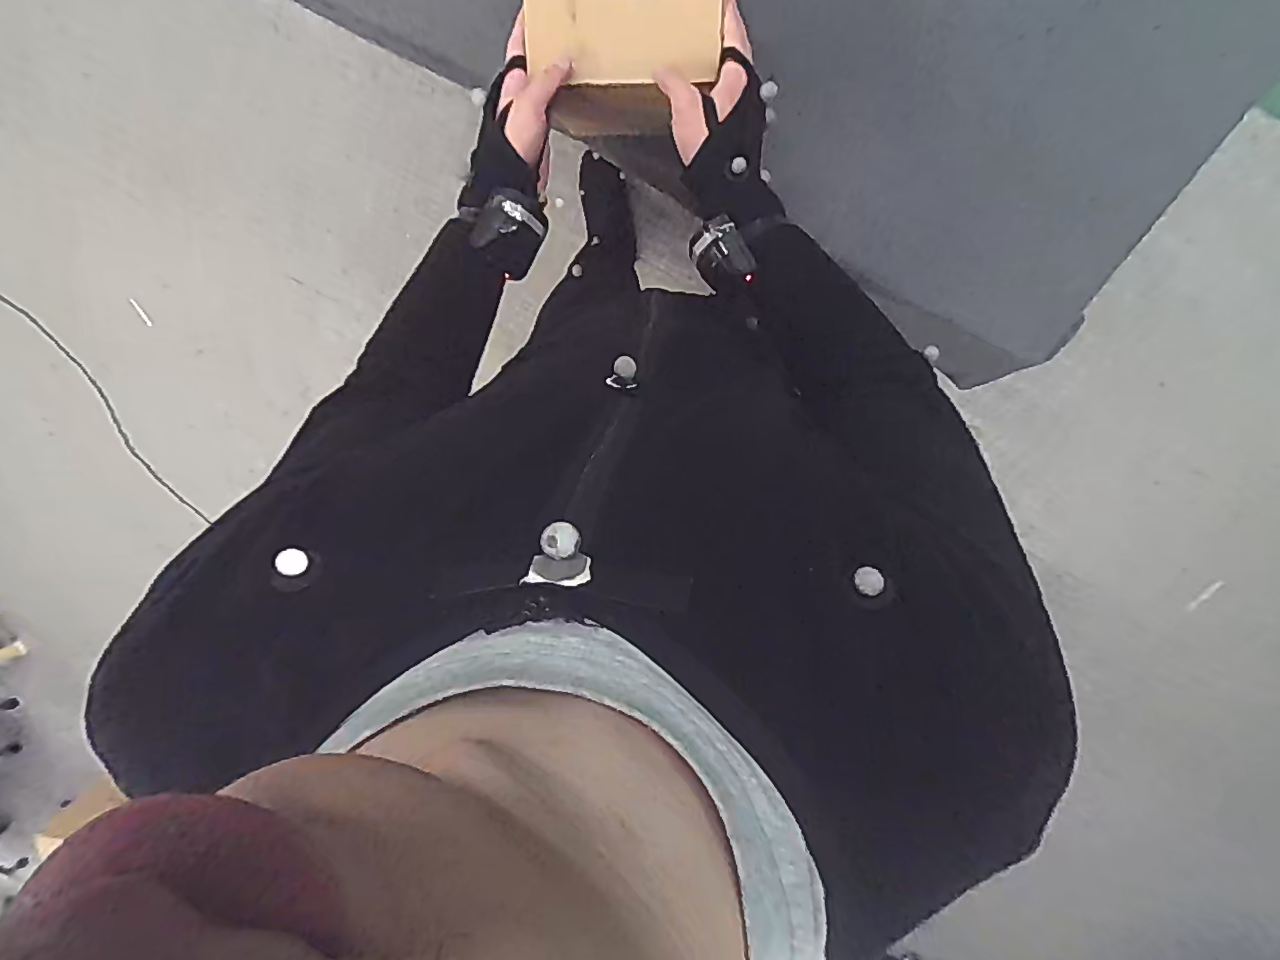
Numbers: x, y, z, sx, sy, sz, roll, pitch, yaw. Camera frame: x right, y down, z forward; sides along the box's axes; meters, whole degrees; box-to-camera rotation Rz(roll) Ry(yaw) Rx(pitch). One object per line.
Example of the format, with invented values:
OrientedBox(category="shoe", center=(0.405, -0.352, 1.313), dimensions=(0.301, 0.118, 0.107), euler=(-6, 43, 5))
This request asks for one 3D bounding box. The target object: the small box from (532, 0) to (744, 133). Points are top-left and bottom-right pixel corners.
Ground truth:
OrientedBox(category="small box", center=(0.004, -0.444, 0.507), dimensions=(0.179, 0.176, 0.168), euler=(2, 107, 6))
